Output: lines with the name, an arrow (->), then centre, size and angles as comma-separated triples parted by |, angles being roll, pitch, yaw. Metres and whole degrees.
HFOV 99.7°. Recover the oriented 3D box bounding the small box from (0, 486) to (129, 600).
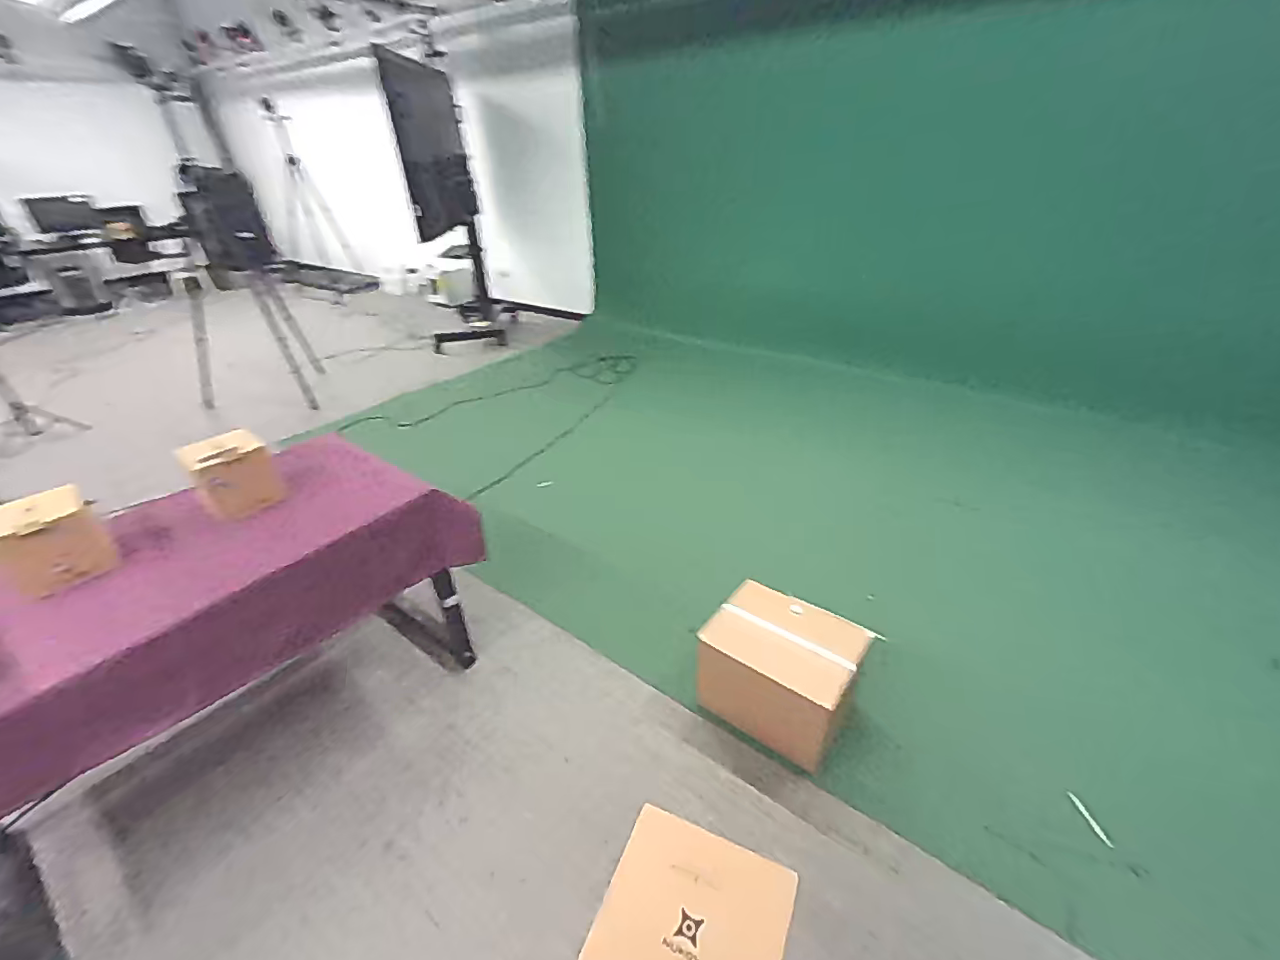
small box -> -1.330, 0.143, 1.245 | 0.179, 0.176, 0.168 | 27, 43, 37
